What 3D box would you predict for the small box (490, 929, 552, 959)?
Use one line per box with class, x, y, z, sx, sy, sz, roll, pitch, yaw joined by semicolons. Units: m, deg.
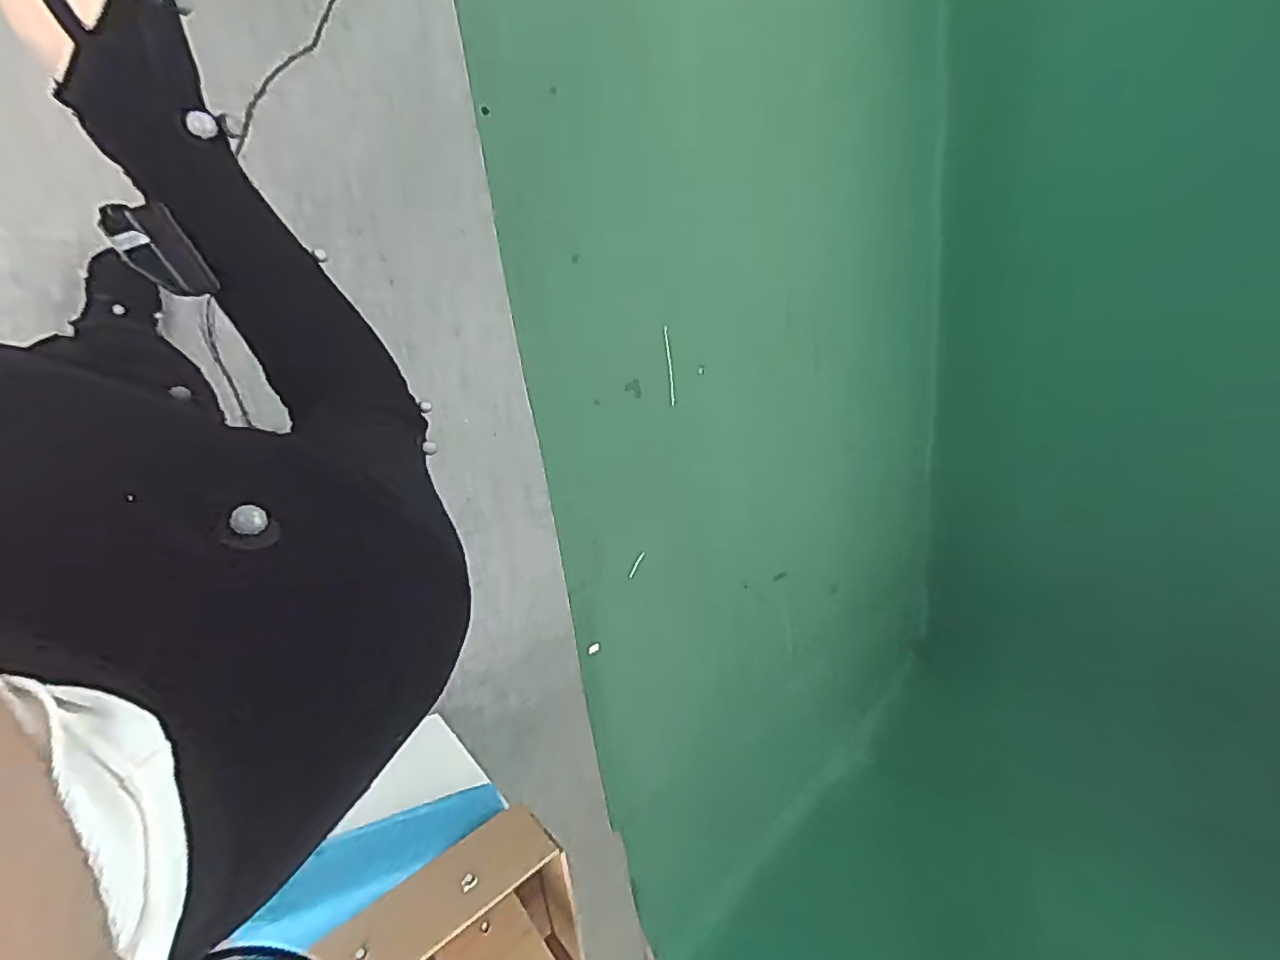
small box;-0.228;1.009;1.009;0.179;0.176;0.168;-19;112;-35
